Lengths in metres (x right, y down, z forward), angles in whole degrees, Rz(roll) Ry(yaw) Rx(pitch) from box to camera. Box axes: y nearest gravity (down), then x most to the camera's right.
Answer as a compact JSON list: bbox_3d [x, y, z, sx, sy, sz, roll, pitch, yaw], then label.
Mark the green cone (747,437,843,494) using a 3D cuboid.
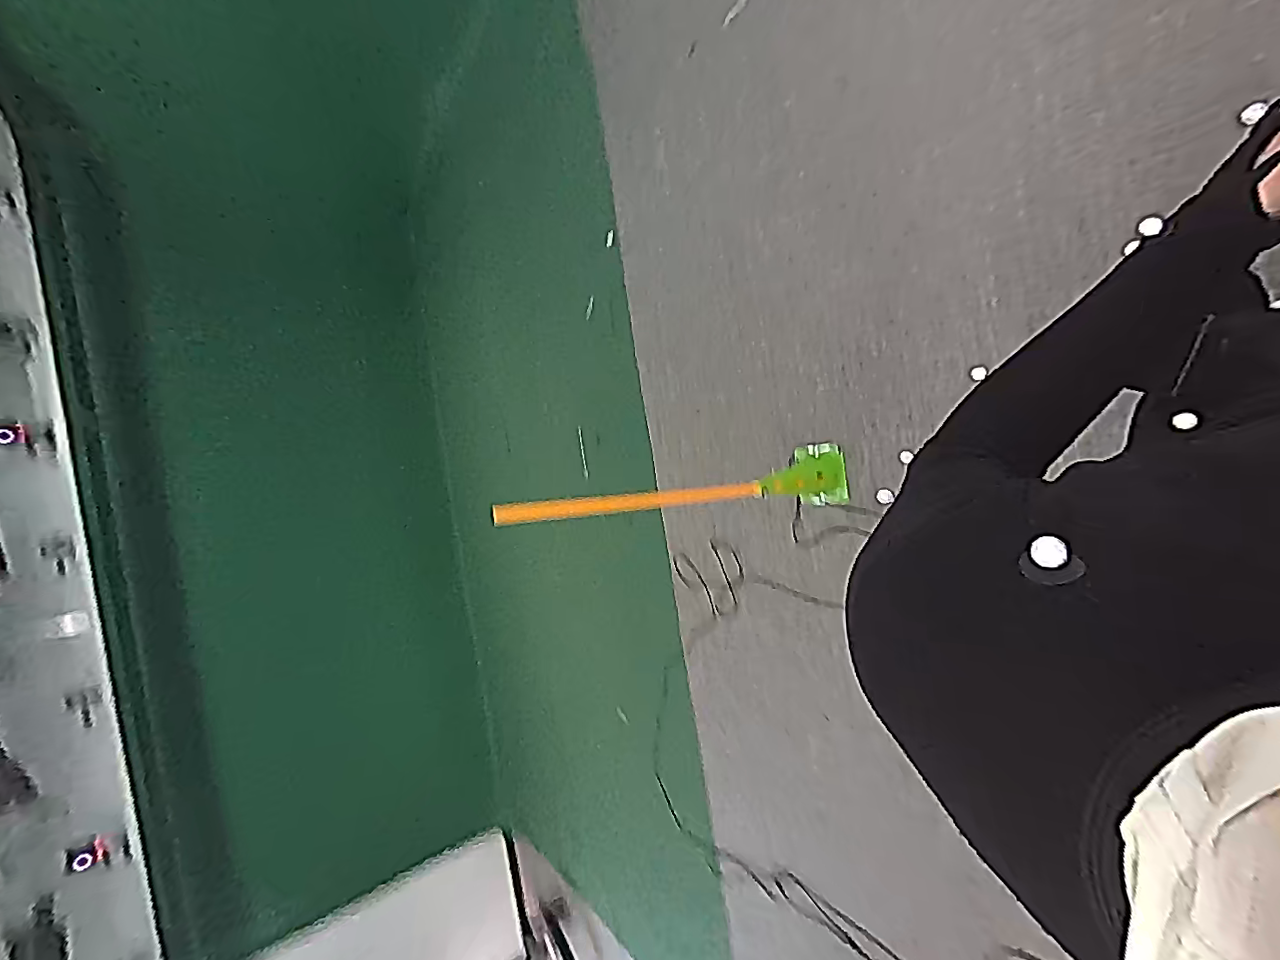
[{"bbox_3d":[0.495,-0.022,1.840,0.200,0.368,0.202,-4,96,53],"label":"green cone"}]
